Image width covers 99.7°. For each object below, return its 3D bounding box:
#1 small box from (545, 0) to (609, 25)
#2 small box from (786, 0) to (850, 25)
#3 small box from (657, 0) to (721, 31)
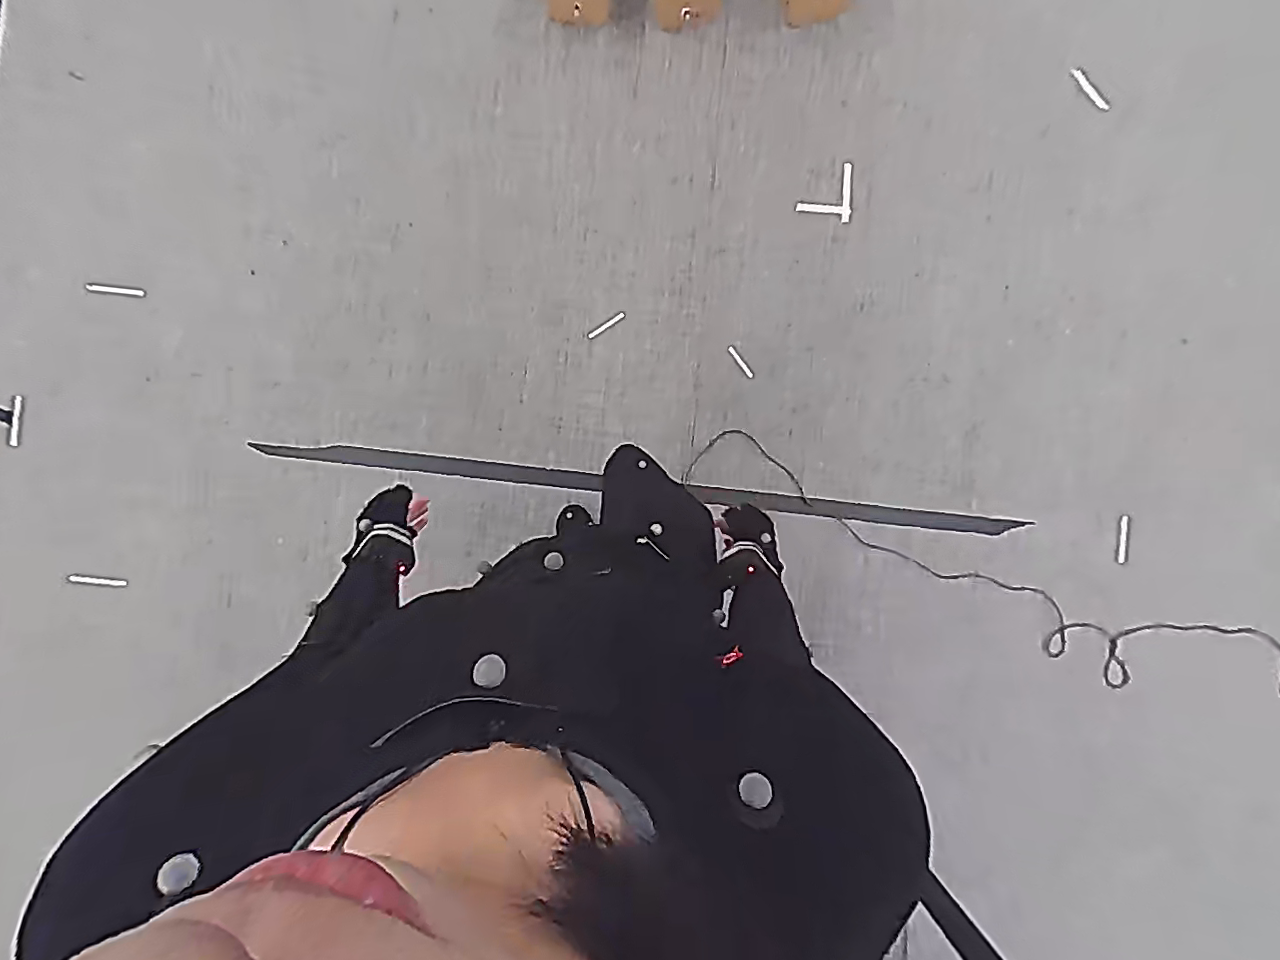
[{"bbox_3d":[-0.169,-1.395,1.476,0.179,0.176,0.168,5,88,-1],"label":"small box"},{"bbox_3d":[0.502,-1.414,1.492,0.179,0.176,0.168,-20,89,-3],"label":"small box"},{"bbox_3d":[0.128,-1.398,1.483,0.168,0.176,0.179,-13,90,-1],"label":"small box"}]
